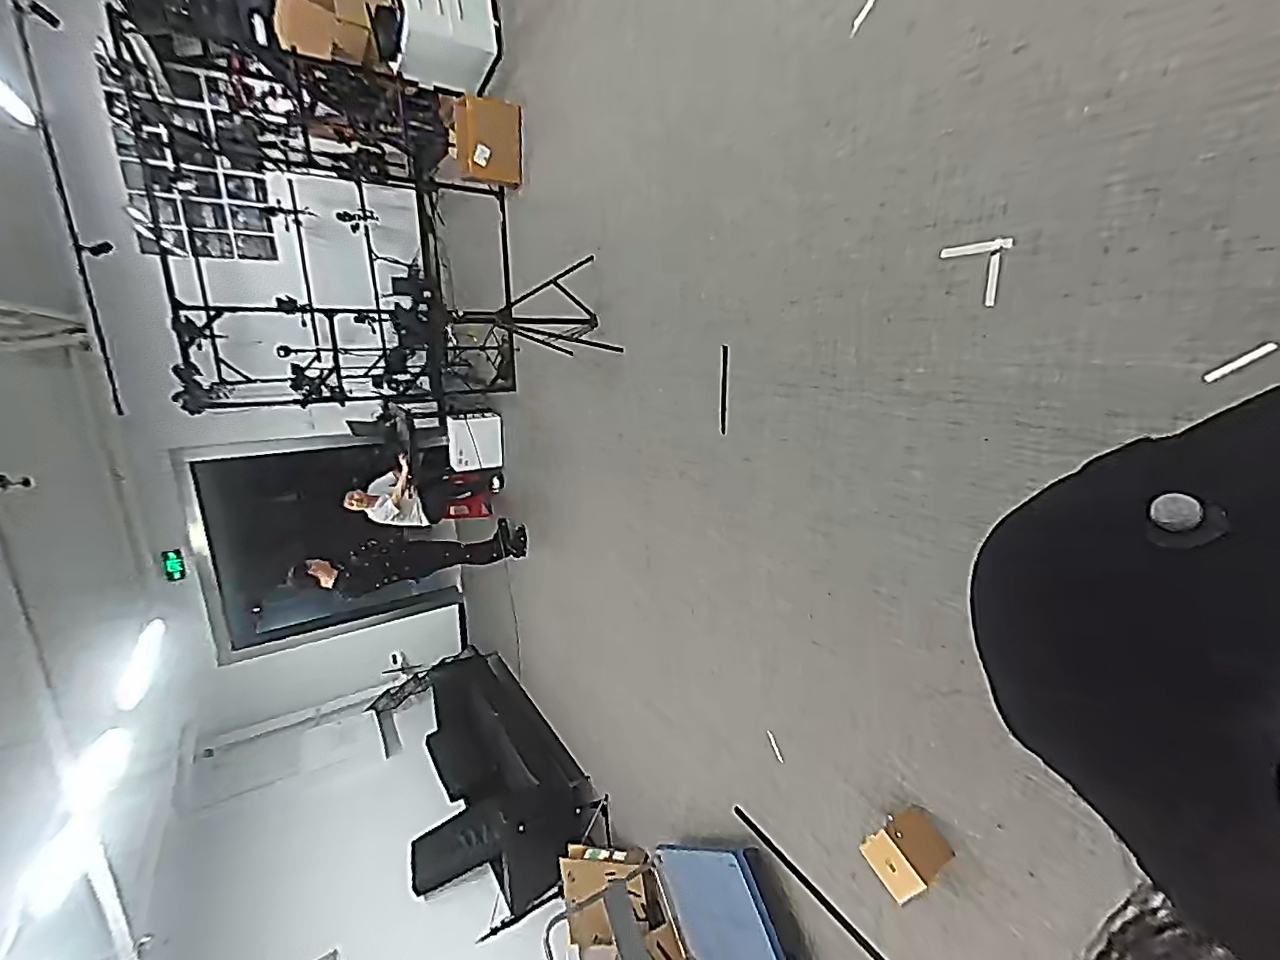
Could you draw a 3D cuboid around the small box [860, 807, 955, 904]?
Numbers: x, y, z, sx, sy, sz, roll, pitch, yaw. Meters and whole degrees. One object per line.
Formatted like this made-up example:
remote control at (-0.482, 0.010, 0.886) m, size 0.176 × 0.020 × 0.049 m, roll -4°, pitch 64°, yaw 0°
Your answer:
small box at (0.850, 1.186, 1.717) m, size 0.179 × 0.176 × 0.168 m, roll 52°, pitch 139°, yaw 39°
